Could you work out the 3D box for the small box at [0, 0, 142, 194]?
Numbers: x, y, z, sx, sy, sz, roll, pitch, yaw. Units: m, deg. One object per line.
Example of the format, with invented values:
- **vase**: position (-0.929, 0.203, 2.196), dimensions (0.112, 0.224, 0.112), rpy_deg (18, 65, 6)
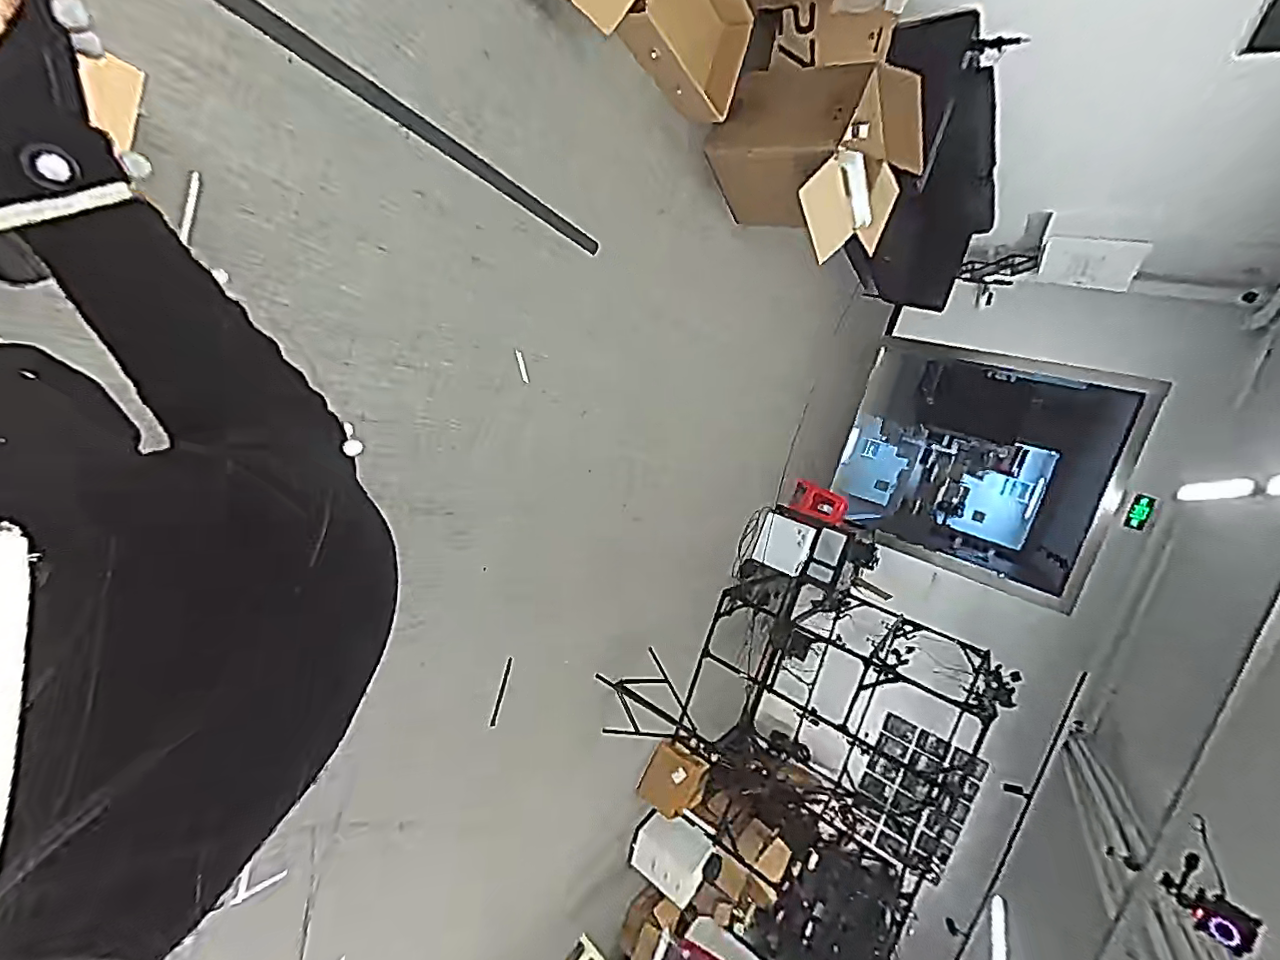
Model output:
- **small box**: position (-0.865, -0.543, 0.777), dimensions (0.168, 0.176, 0.179), rpy_deg (8, 102, -58)
